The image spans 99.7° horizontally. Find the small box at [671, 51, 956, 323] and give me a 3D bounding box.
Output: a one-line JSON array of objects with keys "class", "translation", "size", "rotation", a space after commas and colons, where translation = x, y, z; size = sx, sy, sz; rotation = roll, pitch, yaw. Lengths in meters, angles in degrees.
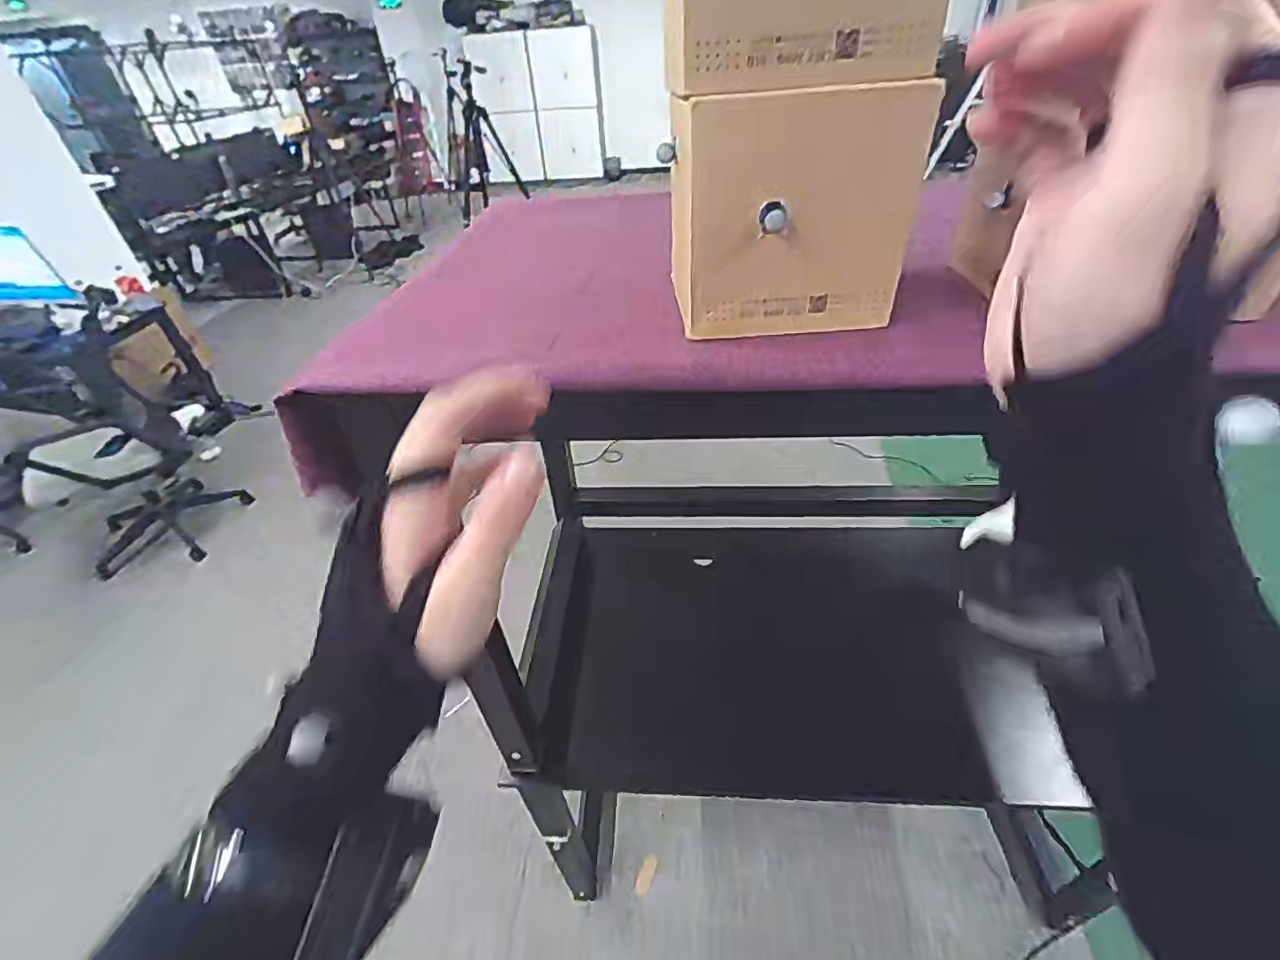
[{"class": "small box", "translation": [0.114, -0.237, 0.441], "size": [0.168, 0.176, 0.179], "rotation": [-3, 40, 0]}]

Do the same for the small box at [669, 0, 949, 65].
[{"class": "small box", "translation": [0.102, -0.374, 0.347], "size": [0.168, 0.176, 0.179], "rotation": [-2, 38, 1]}]
